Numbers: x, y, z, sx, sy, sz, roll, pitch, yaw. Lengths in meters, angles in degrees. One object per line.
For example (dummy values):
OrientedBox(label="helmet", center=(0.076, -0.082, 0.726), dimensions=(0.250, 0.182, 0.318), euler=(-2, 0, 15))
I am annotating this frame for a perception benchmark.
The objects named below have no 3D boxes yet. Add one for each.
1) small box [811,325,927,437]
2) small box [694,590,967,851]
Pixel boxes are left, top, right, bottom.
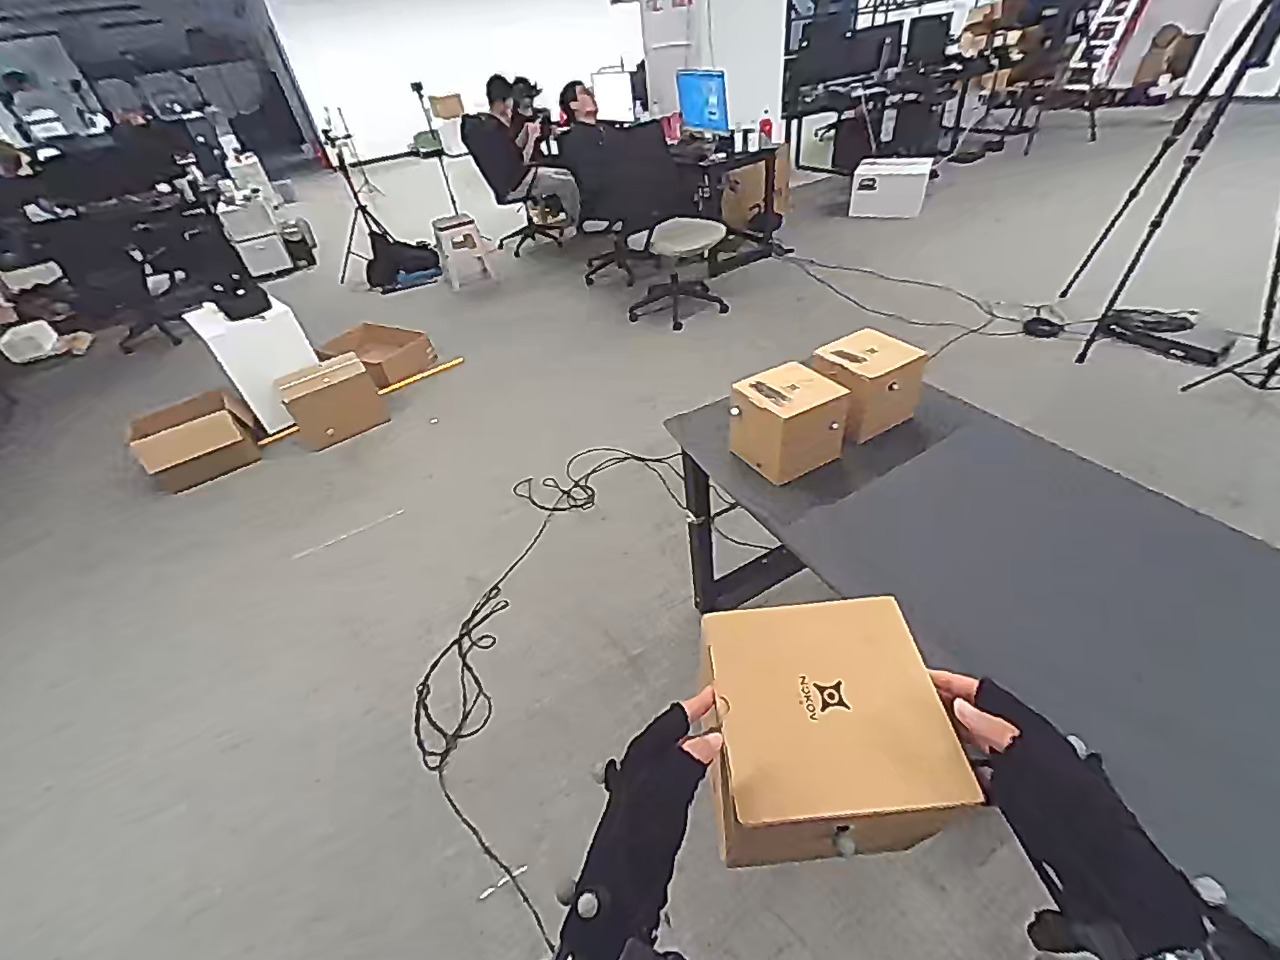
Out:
OrientedBox(label="small box", center=(0.507, -0.223, 1.226), dimensions=(0.179, 0.176, 0.168), euler=(-25, 43, -19))
OrientedBox(label="small box", center=(0.145, 0.221, 0.491), dimensions=(0.179, 0.176, 0.168), euler=(-7, 47, 0))
